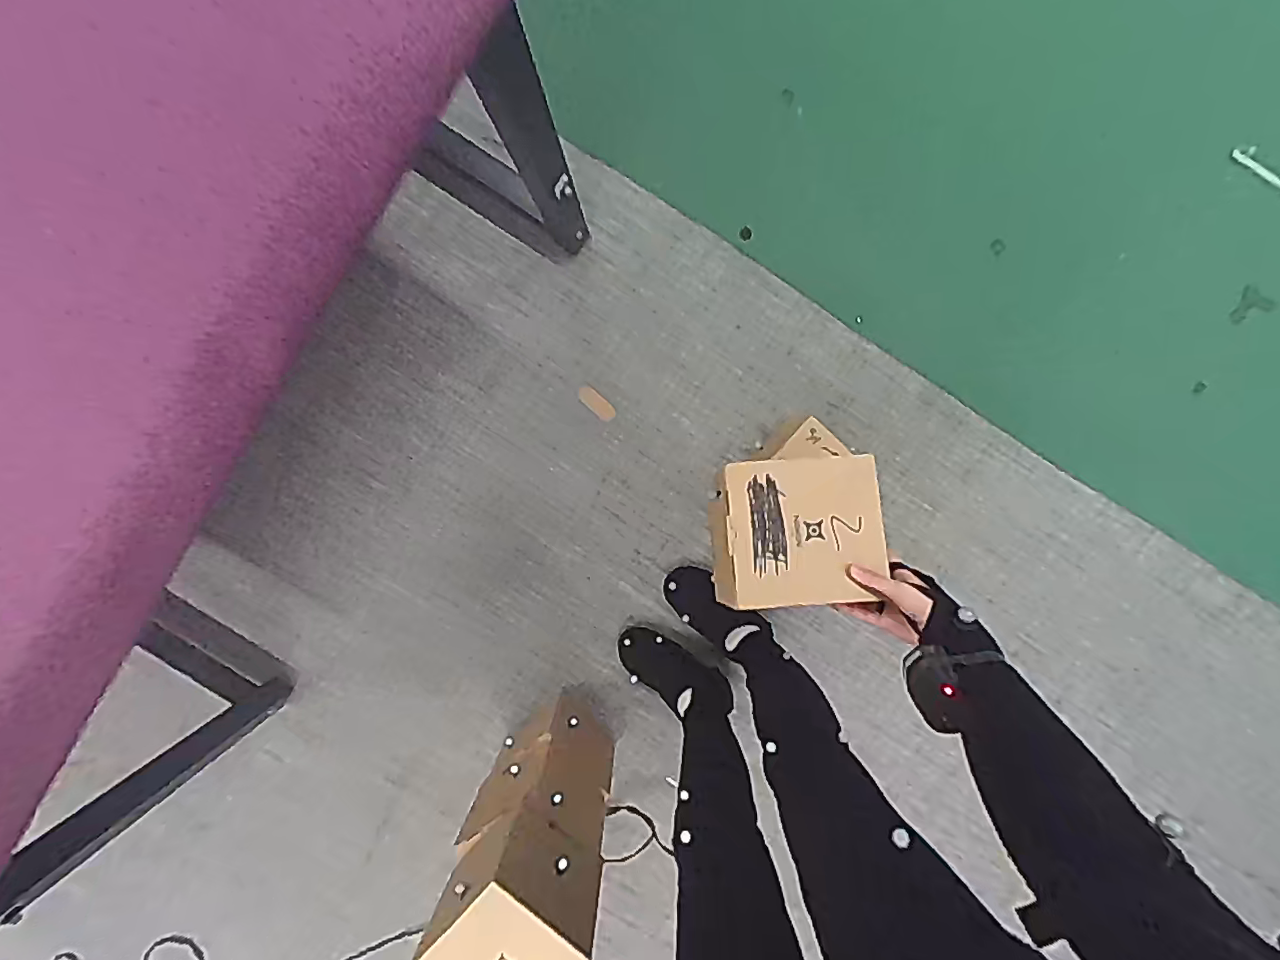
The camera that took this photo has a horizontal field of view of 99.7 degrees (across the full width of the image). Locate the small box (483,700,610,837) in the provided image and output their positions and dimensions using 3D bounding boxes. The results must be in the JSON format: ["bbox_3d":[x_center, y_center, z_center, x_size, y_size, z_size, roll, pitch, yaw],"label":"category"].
[{"bbox_3d":[-0.177,0.572,1.079,0.168,0.176,0.179,-40,95,5],"label":"small box"}]

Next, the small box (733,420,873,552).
[{"bbox_3d":[0.292,0.004,1.019,0.168,0.176,0.179,43,95,-4],"label":"small box"}]

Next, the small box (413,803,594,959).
[{"bbox_3d":[-0.179,0.605,0.754,0.168,0.176,0.179,42,96,-2],"label":"small box"}]
